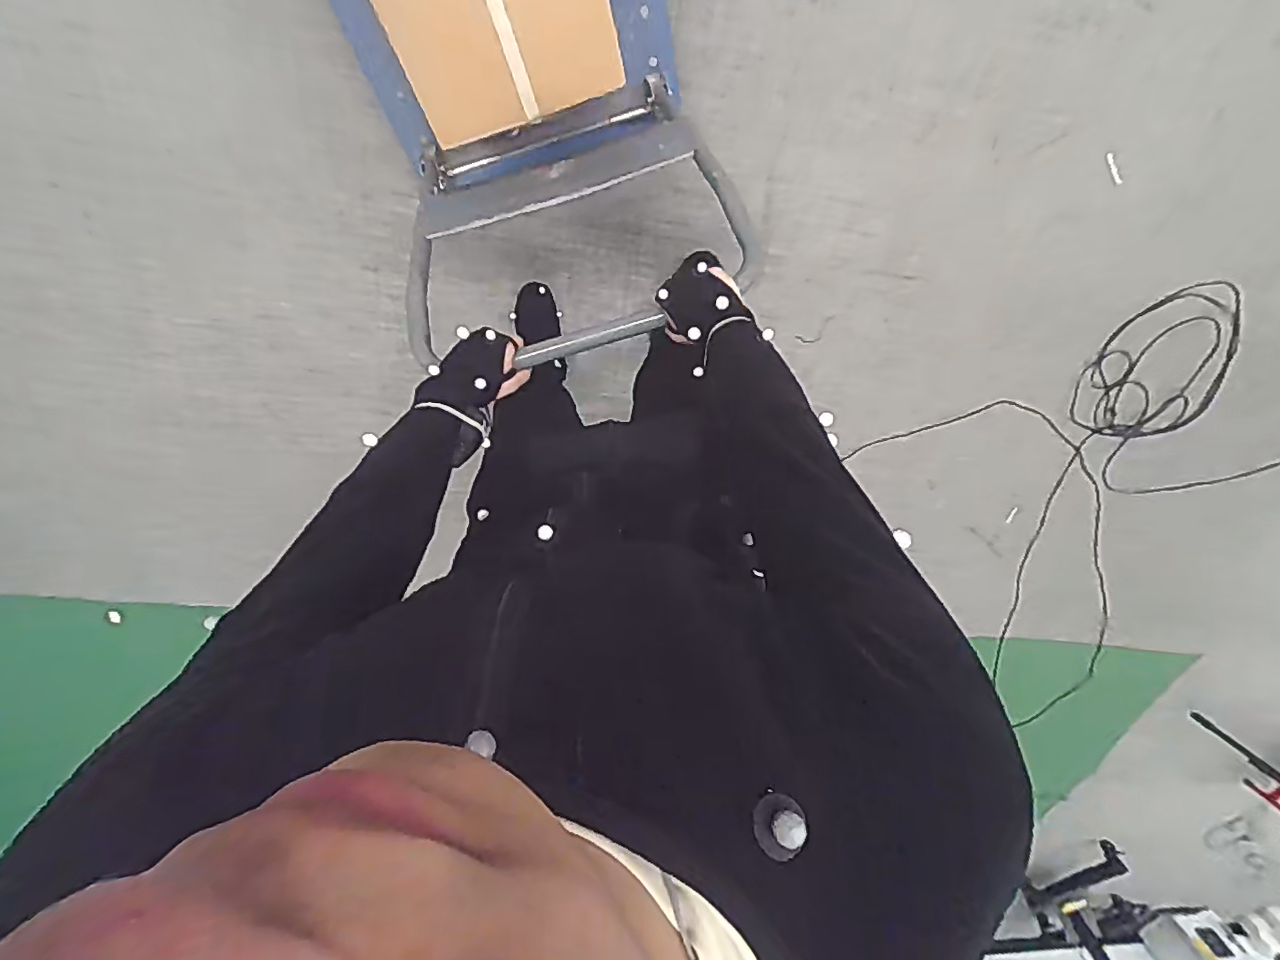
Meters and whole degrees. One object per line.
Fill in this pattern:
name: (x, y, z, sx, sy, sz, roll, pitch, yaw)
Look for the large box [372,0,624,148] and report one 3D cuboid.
large box: (-0.242, -0.807, 0.813, 0.320, 0.320, 0.408, -17, 138, 5)
